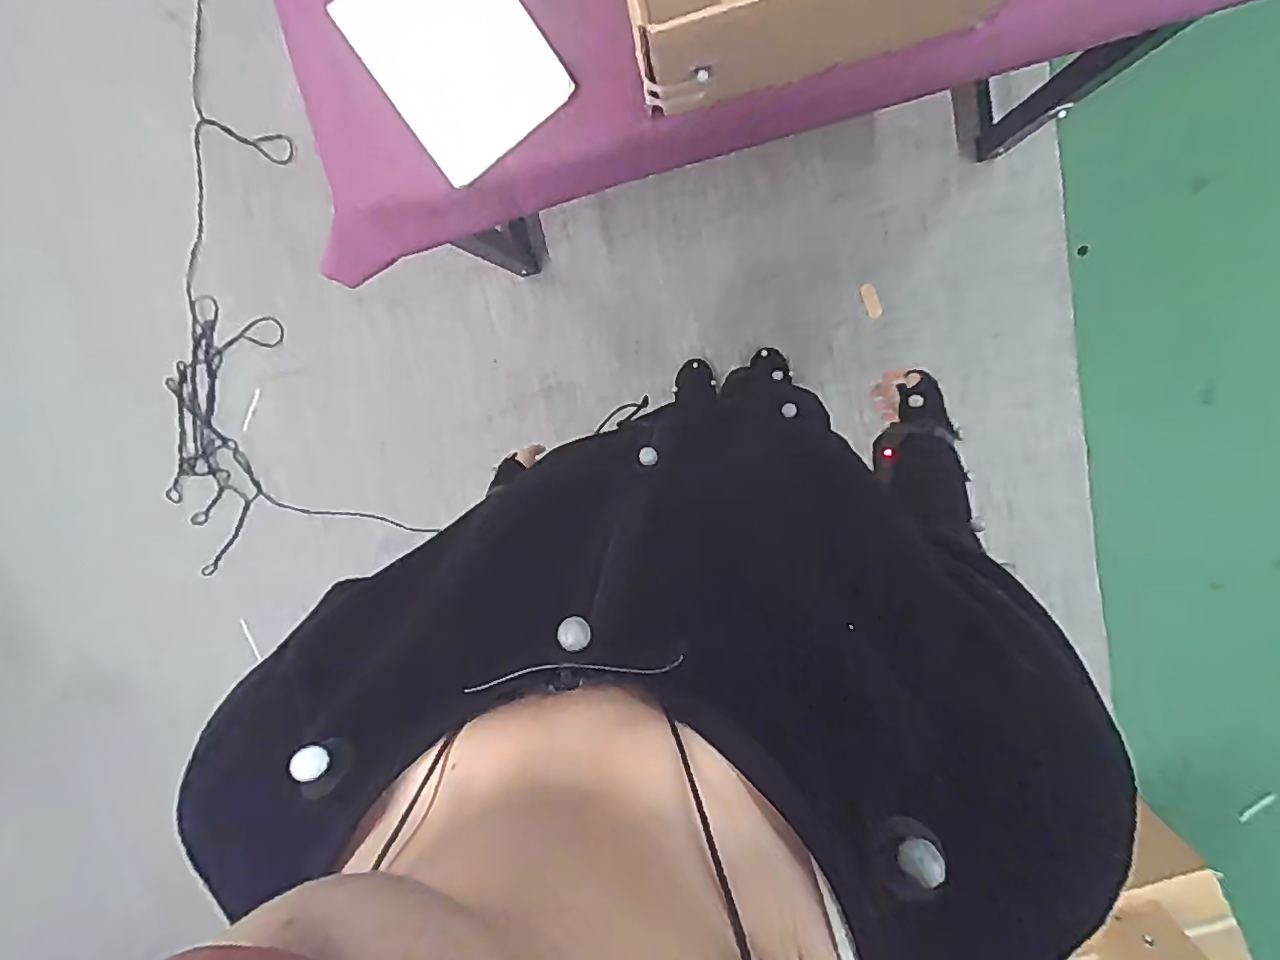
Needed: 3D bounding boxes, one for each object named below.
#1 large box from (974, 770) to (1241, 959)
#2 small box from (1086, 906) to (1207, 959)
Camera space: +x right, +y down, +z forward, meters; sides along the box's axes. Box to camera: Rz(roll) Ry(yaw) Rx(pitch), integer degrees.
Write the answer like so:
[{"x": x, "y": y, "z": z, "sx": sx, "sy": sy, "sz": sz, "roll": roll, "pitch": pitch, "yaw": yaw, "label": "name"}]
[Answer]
[{"x": 1.229, "y": 1.079, "z": 1.468, "sx": 0.408, "sy": 0.320, "sz": 0.320, "roll": -27, "pitch": 99, "yaw": 9, "label": "large box"}, {"x": 1.167, "y": 1.115, "z": 1.229, "sx": 0.168, "sy": 0.176, "sz": 0.179, "roll": -21, "pitch": 99, "yaw": 10, "label": "small box"}]
